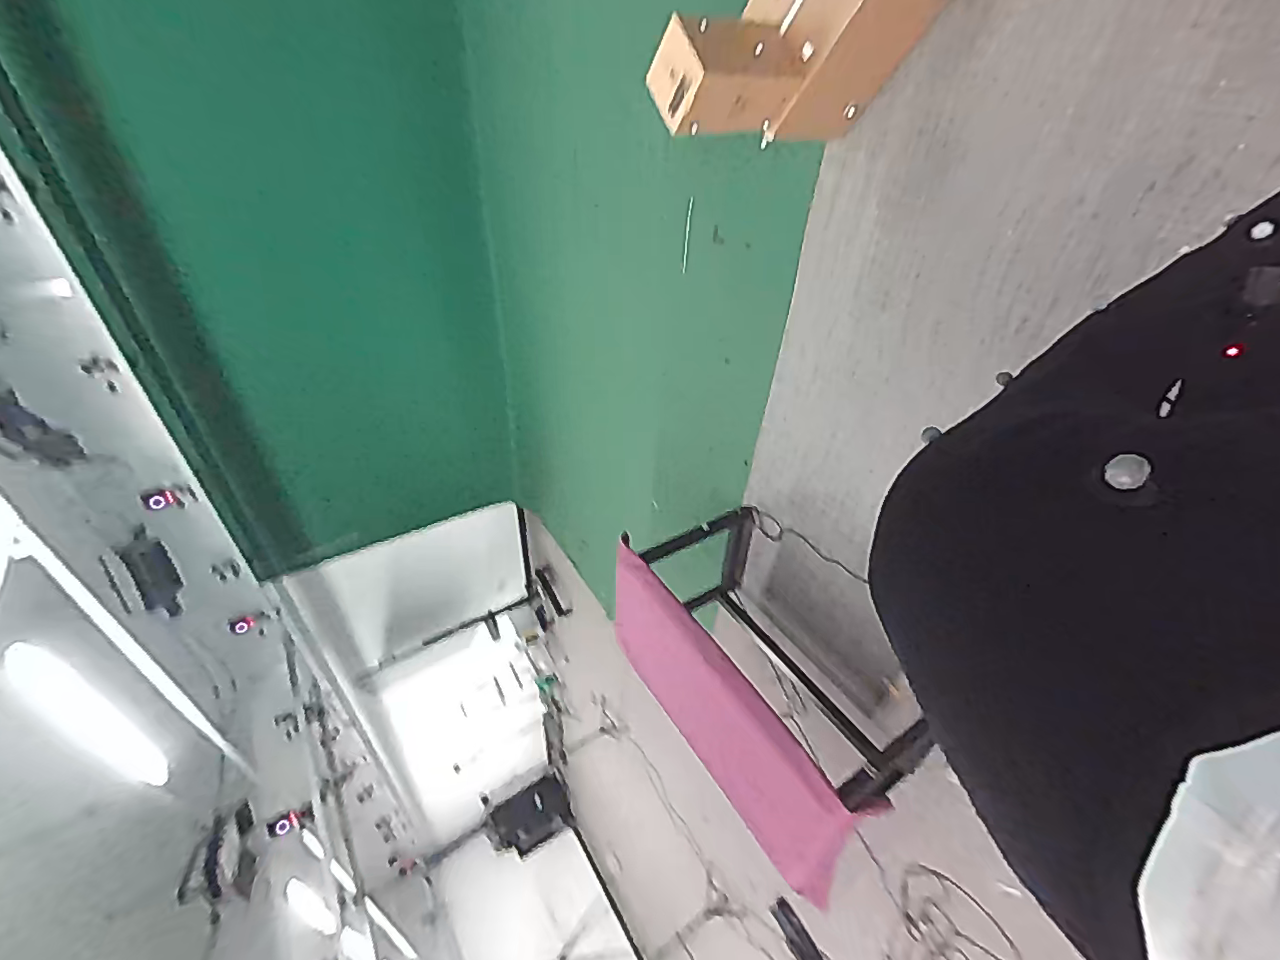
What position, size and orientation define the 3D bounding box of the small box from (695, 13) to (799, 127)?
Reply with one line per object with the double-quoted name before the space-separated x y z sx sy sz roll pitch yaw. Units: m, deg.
"small box" 0.280 -1.058 1.404 0.168 0.176 0.179 -32 80 61
